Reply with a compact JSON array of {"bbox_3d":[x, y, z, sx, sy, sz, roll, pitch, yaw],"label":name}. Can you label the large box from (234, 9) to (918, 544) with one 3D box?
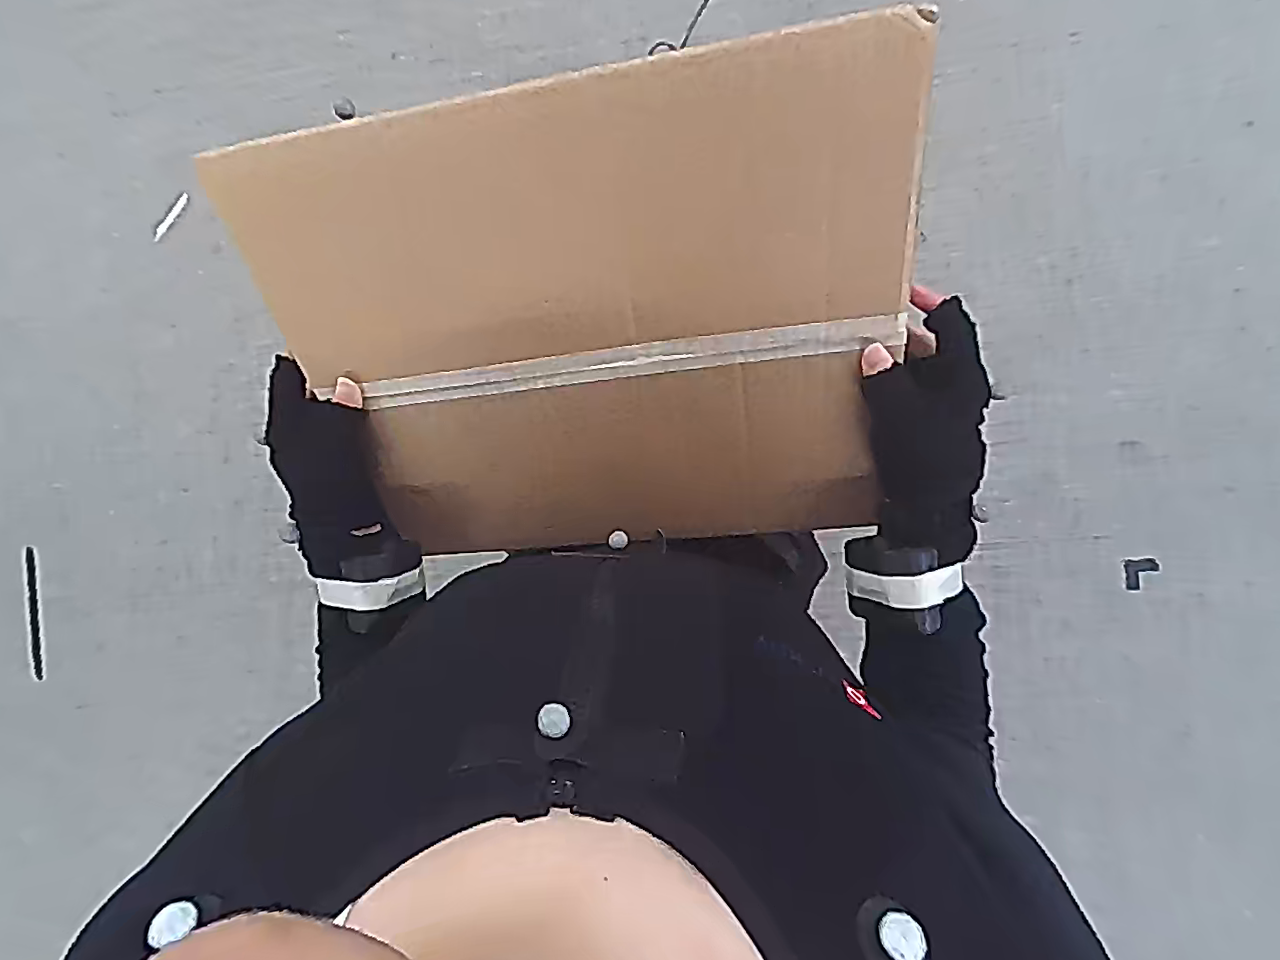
[{"bbox_3d":[-0.021,-0.168,0.499,0.408,0.320,0.320,-5,125,9],"label":"large box"}]
